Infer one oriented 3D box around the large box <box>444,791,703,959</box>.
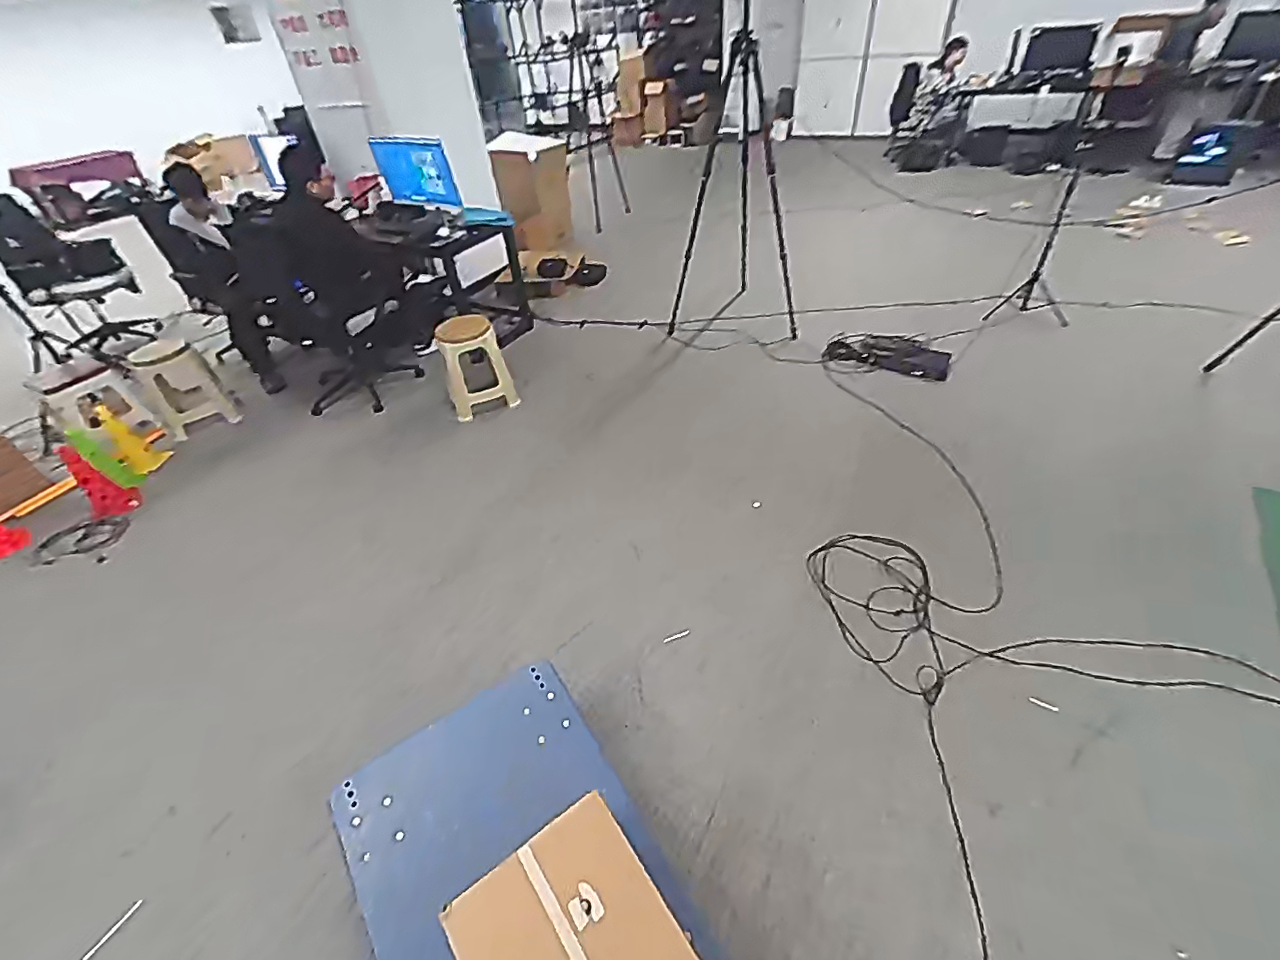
[{"bbox_3d":[-0.096,0.877,0.994,0.320,0.320,0.408,-29,58,-24],"label":"large box"}]
